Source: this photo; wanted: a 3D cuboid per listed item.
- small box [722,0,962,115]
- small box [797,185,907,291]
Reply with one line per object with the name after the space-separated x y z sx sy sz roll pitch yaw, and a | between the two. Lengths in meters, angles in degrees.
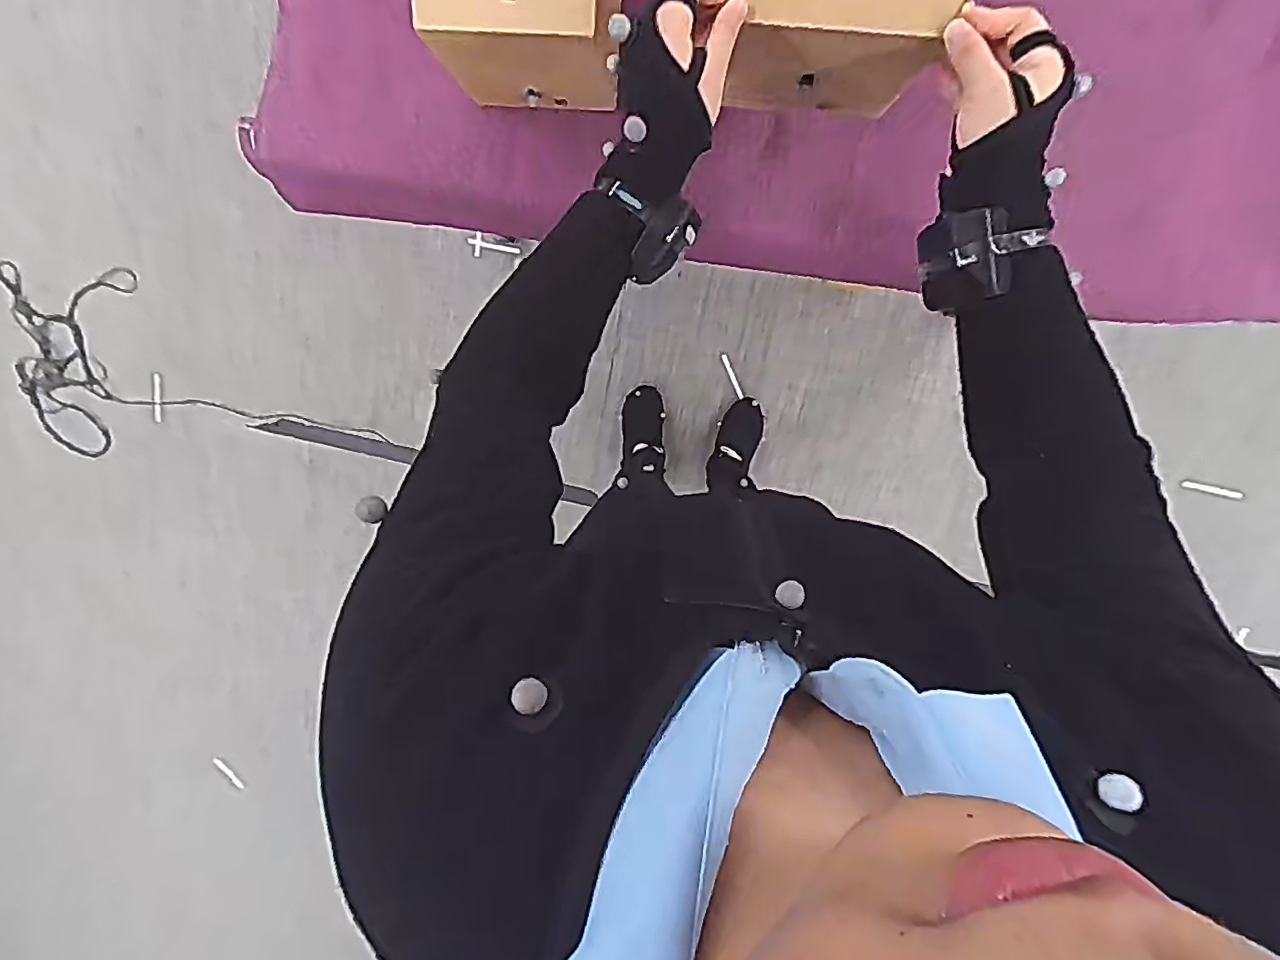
0.164 -0.436 0.451 0.168 0.176 0.179 7 105 2 | small box
0.474 -0.544 1.241 0.168 0.176 0.179 15 105 0 | small box
